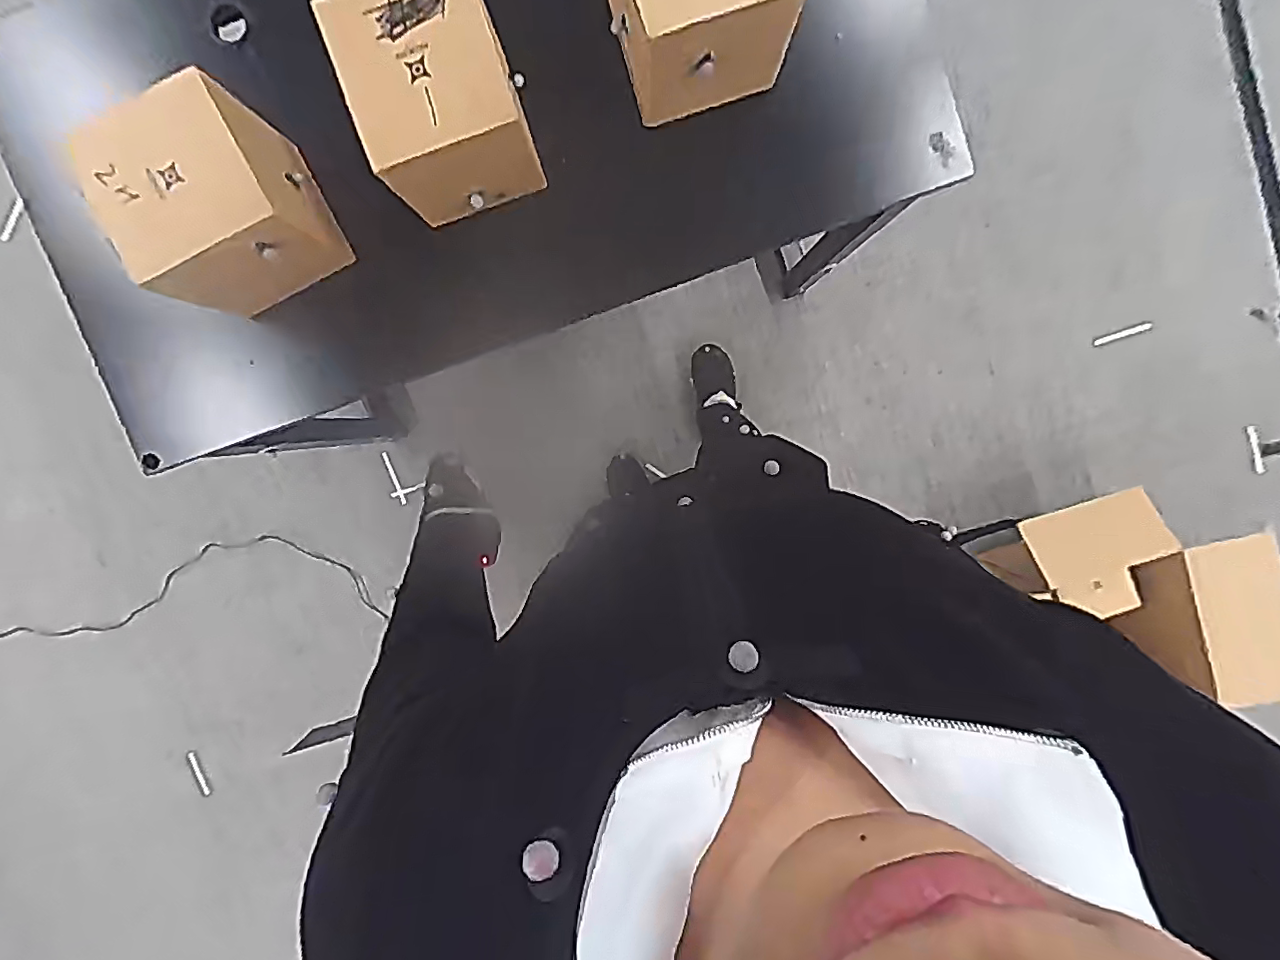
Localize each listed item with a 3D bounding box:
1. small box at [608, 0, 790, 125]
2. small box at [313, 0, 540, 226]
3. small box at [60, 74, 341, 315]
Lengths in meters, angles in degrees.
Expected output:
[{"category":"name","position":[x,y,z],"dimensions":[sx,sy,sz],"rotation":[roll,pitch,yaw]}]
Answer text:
[{"category":"small box","position":[0.058,-0.553,0.623],"dimensions":[0.179,0.176,0.168],"rotation":[-17,96,3]},{"category":"small box","position":[-0.233,-0.436,0.638],"dimensions":[0.168,0.176,0.179],"rotation":[-18,96,3]},{"category":"small box","position":[-0.499,-0.322,0.651],"dimensions":[0.179,0.176,0.168],"rotation":[-26,95,4]}]
